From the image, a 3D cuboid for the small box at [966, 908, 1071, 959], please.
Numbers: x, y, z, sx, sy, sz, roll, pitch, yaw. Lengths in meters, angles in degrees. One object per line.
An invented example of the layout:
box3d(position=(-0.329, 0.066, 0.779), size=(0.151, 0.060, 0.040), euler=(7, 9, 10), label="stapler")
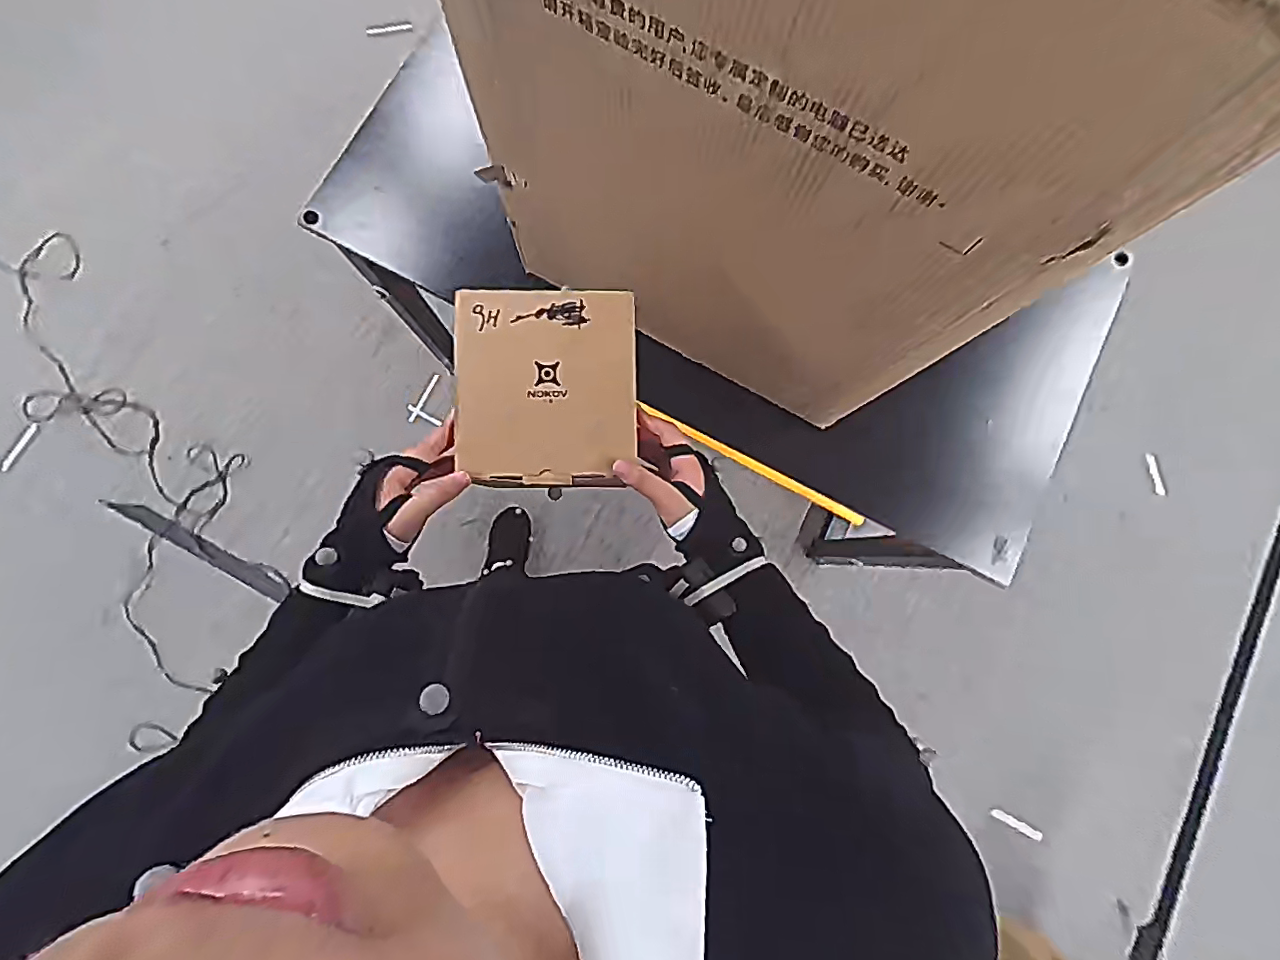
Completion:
box3d(position=(0.942, 1.211, 1.325), size=(0.168, 0.176, 0.179), euler=(24, 82, 1), label="small box")
